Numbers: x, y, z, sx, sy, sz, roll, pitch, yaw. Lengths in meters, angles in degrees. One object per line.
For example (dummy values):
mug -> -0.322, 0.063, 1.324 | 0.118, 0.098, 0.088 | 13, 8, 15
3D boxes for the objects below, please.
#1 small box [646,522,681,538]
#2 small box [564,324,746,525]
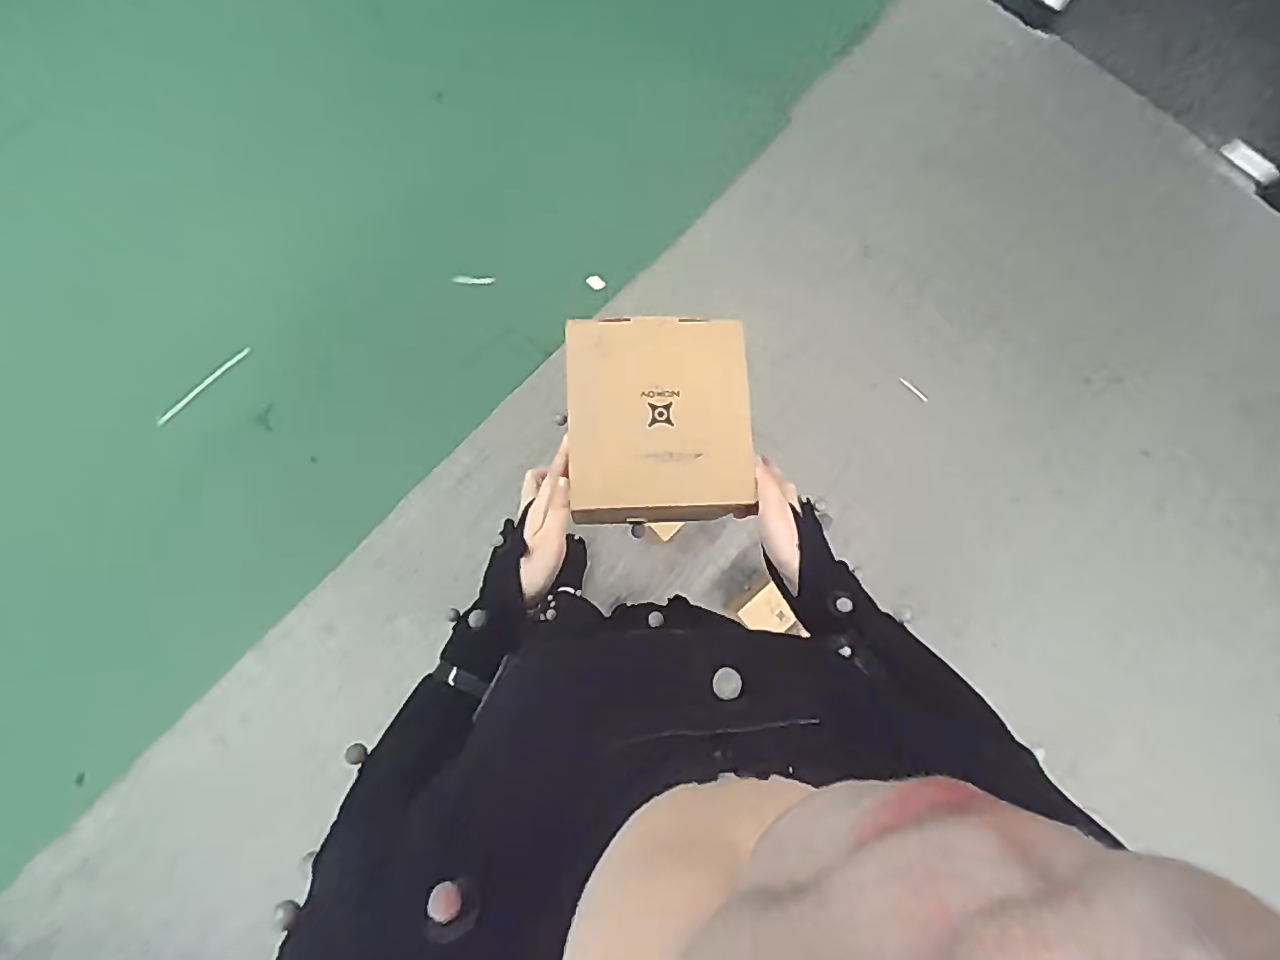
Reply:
small box -> 0.069, 0.044, 1.491 | 0.179, 0.176, 0.168 | -42, 85, -8
small box -> 0.004, -0.048, 0.572 | 0.168, 0.176, 0.179 | -2, 82, -6
